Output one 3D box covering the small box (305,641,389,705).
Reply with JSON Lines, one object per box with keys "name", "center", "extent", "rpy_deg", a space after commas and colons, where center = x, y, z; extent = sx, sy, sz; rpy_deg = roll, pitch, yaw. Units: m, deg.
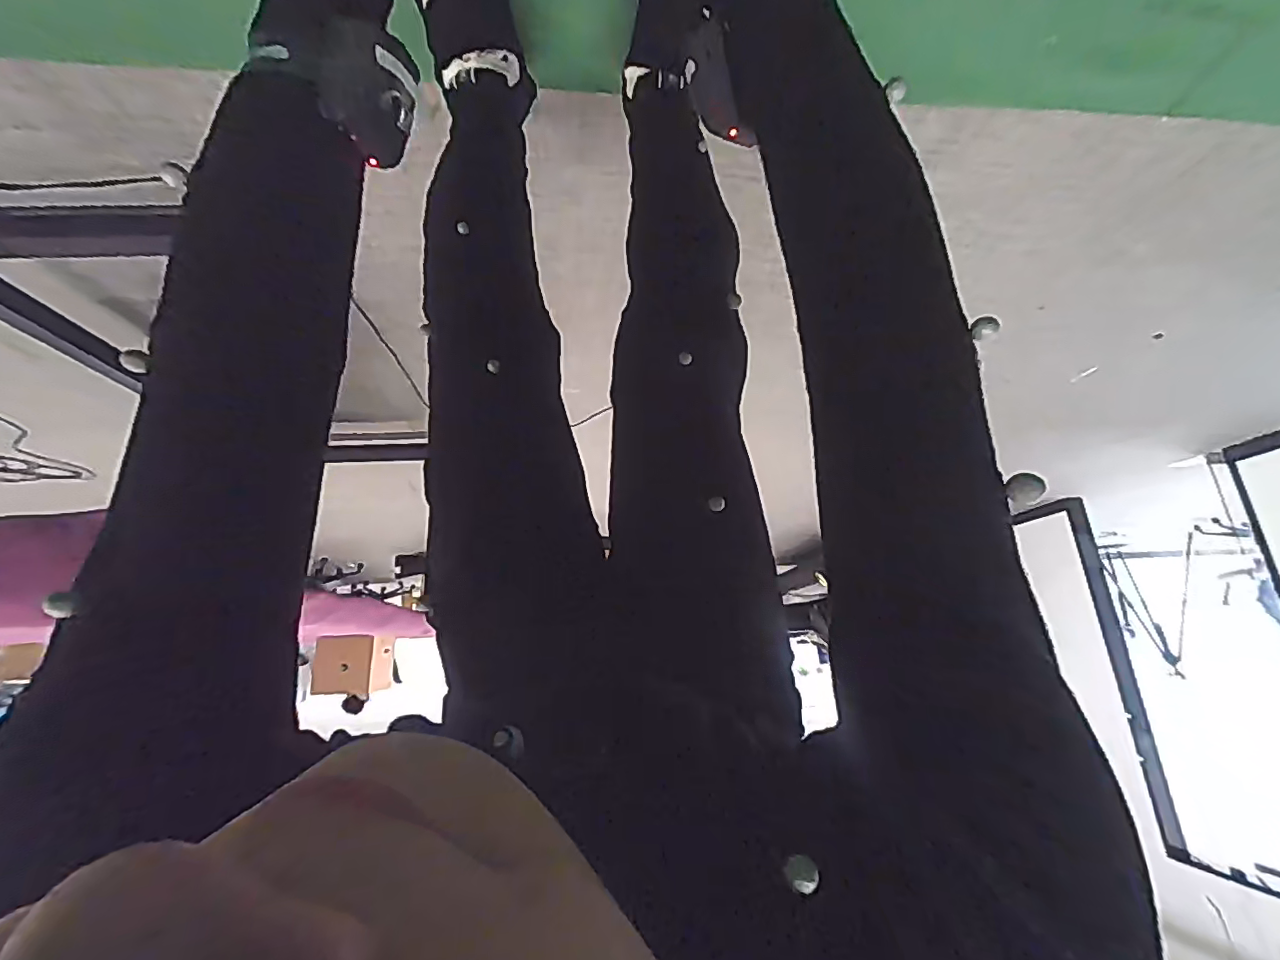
{"name": "small box", "center": [-0.894, 0.593, 1.665], "extent": [0.179, 0.176, 0.168], "rpy_deg": [-3, 162, -4]}
